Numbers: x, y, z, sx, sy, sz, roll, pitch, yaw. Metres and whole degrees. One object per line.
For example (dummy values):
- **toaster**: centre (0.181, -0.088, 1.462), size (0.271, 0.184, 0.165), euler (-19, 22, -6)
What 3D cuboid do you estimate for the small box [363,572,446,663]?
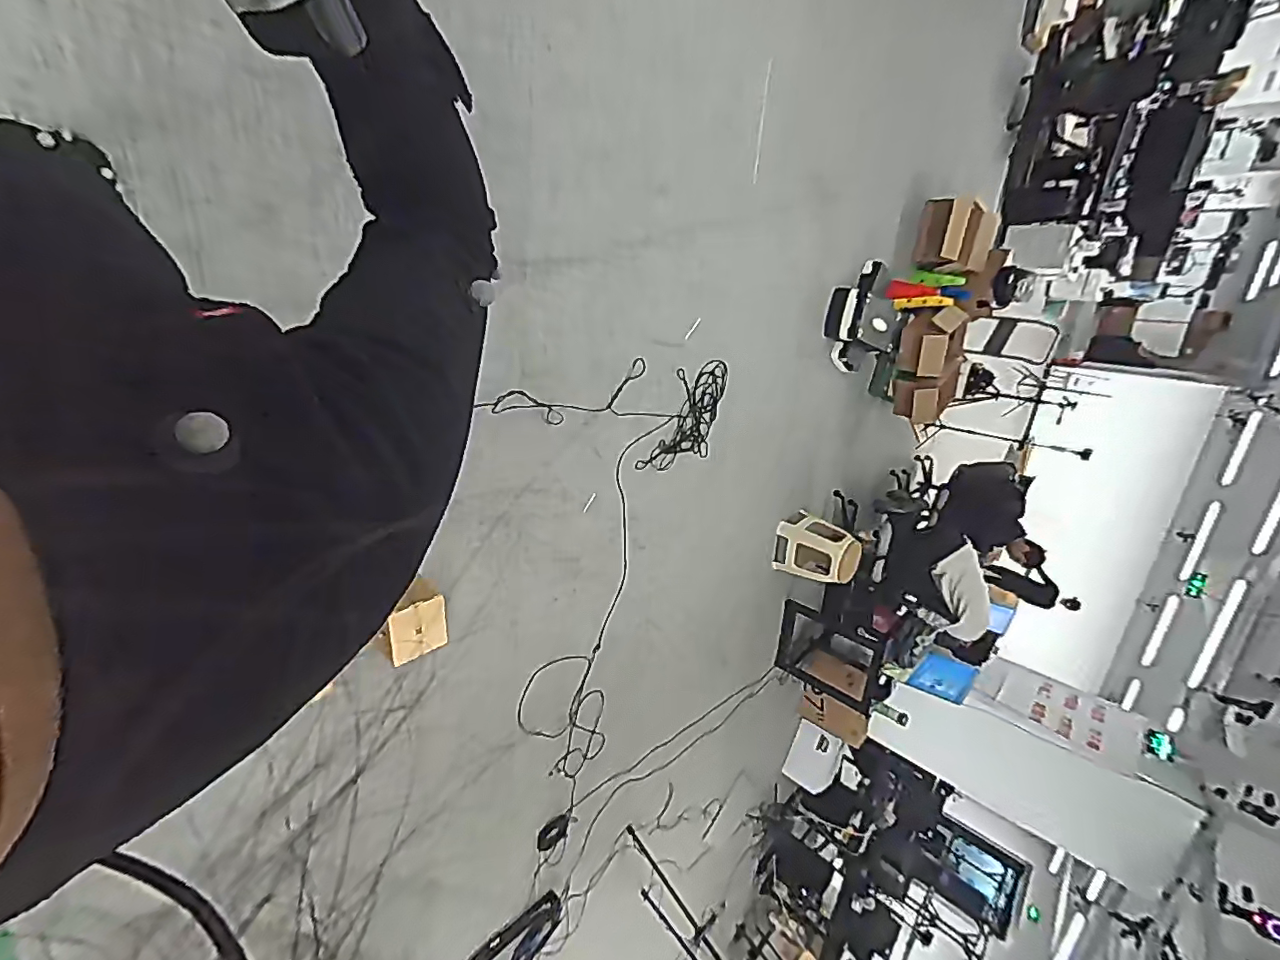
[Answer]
- **small box**: centre (-0.700, 0.400, 1.608), size (0.168, 0.176, 0.179), euler (-18, 118, -44)
